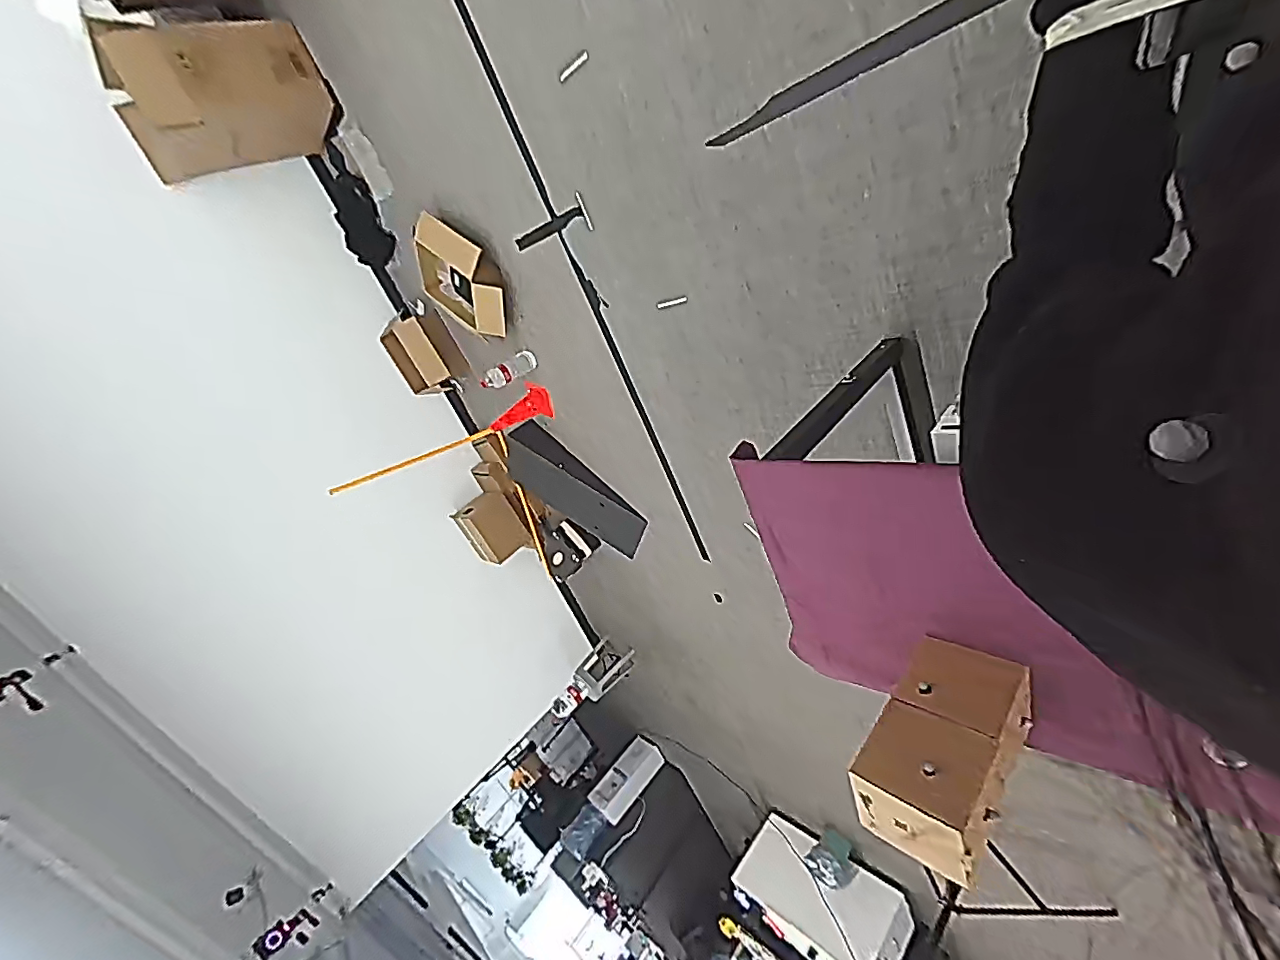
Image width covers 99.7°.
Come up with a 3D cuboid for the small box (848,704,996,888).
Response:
[{"bbox_3d":[0.478,0.513,0.905,0.179,0.176,0.168,10,130,46],"label":"small box"}]

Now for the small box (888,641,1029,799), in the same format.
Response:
[{"bbox_3d":[0.586,0.424,0.991,0.179,0.176,0.168,9,129,47],"label":"small box"}]
